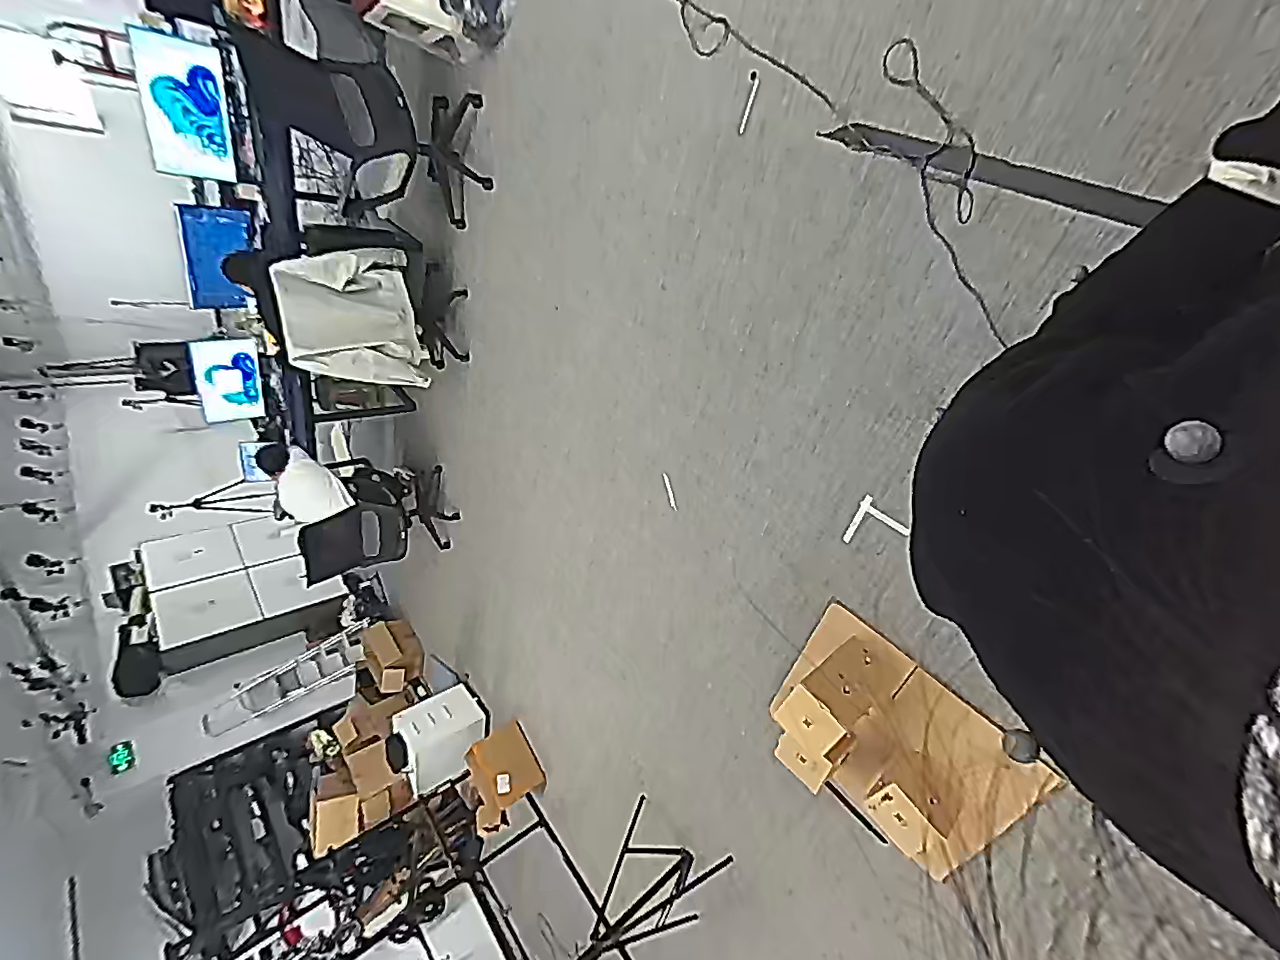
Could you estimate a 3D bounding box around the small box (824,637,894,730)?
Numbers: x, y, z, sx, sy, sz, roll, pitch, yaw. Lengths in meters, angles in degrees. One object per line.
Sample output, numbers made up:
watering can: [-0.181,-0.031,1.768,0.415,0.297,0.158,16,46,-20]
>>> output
small box: [0.647,0.620,1.662,0.168,0.176,0.179,40,128,32]

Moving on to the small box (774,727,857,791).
small box: [0.588,0.883,1.813,0.179,0.176,0.168,36,128,36]

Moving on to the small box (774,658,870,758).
small box: [0.527,0.651,1.556,0.168,0.176,0.179,44,130,31]

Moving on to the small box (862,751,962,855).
small box: [0.802,0.944,1.587,0.179,0.176,0.168,47,132,26]
